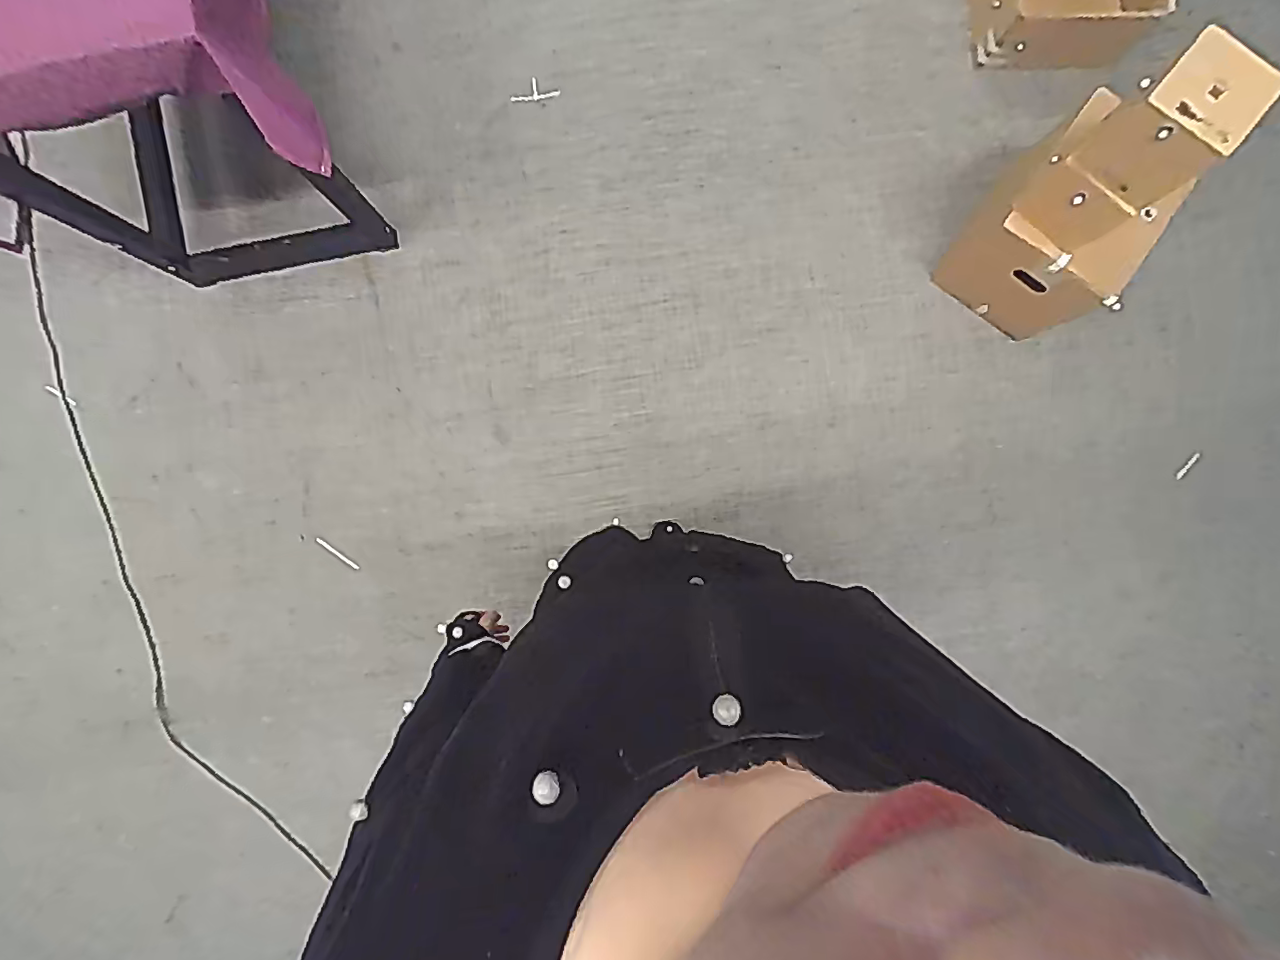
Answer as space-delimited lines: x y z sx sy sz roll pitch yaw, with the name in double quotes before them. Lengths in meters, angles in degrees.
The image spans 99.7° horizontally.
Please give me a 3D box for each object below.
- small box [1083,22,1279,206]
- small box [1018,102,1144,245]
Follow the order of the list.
"small box" 0.970 -0.648 0.978 0.168 0.176 0.179 40 88 4
"small box" 0.966 -0.630 1.143 0.179 0.176 0.168 44 89 4
